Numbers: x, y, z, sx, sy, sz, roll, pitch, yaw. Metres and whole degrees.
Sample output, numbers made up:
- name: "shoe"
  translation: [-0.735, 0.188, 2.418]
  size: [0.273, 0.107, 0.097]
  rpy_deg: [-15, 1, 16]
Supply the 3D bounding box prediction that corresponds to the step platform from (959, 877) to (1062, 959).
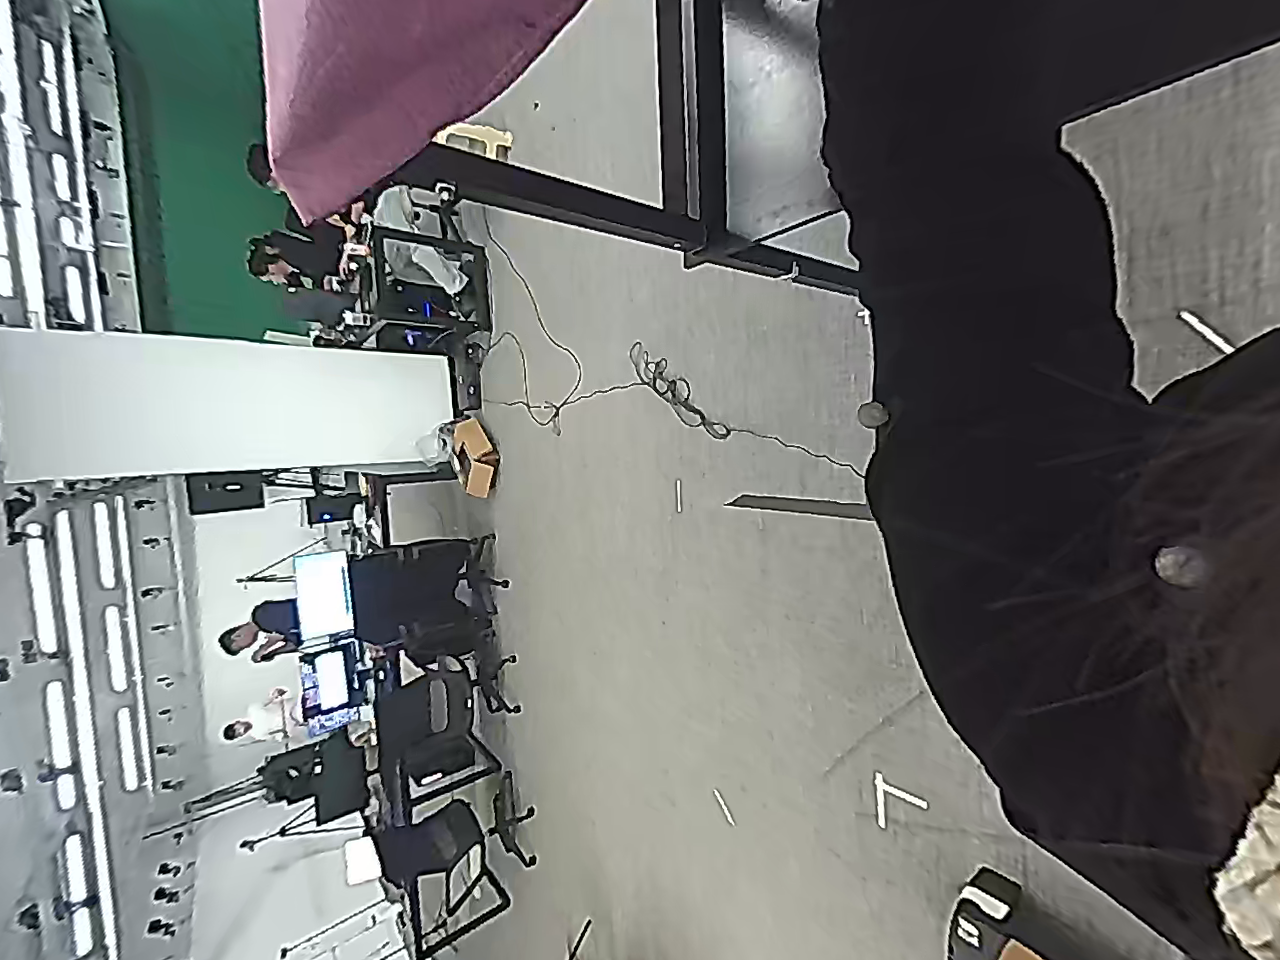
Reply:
- name: "step platform"
  translation: [1.063, 1.221, 1.137]
  size: [0.684, 0.204, 0.286]
  rpy_deg: [12, 103, 51]
